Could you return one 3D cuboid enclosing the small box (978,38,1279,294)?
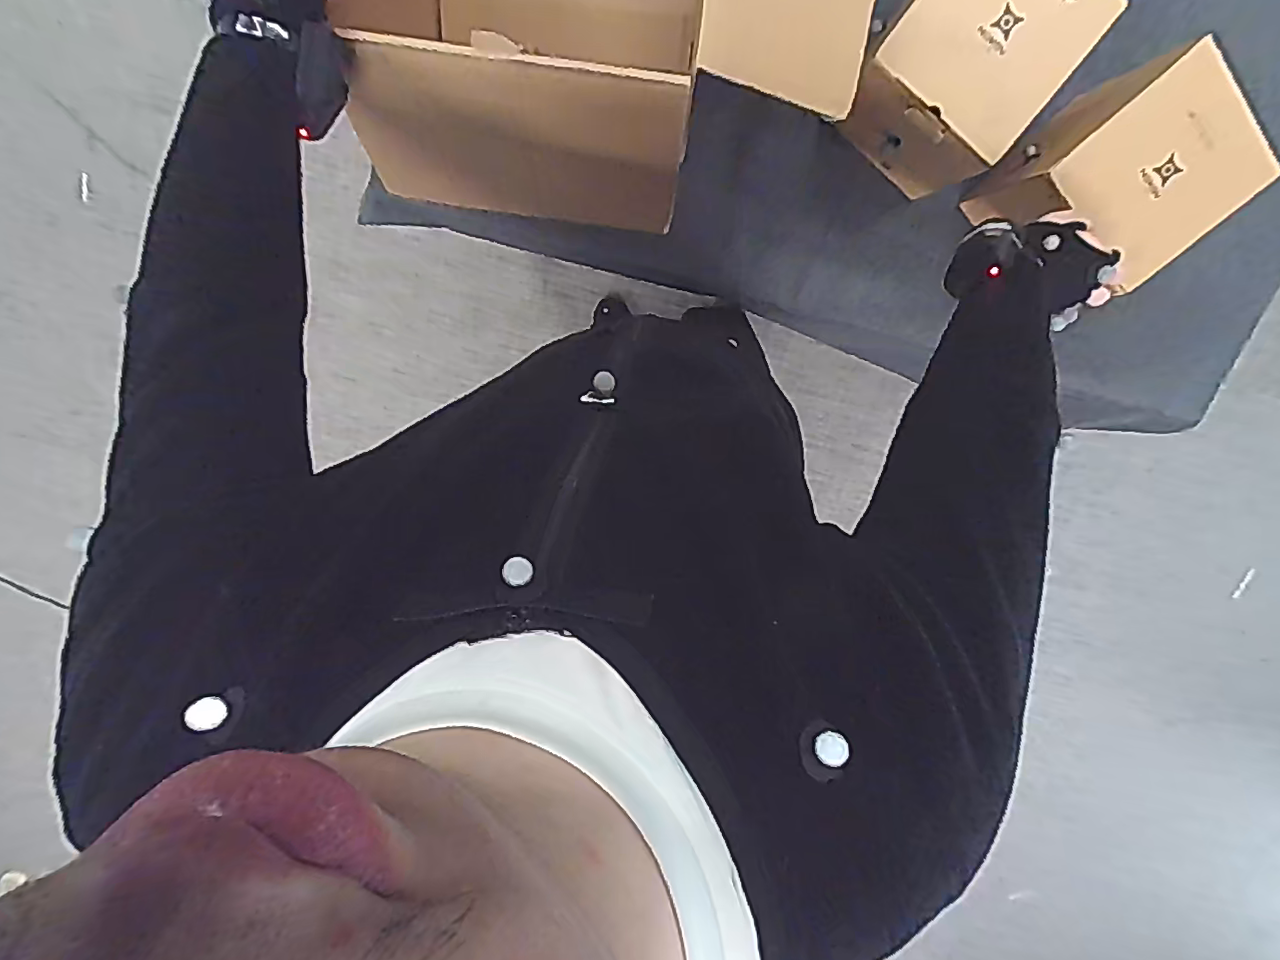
[{"bbox_3d":[0.536,-0.335,0.626,0.179,0.176,0.168,-43,103,12],"label":"small box"}]
